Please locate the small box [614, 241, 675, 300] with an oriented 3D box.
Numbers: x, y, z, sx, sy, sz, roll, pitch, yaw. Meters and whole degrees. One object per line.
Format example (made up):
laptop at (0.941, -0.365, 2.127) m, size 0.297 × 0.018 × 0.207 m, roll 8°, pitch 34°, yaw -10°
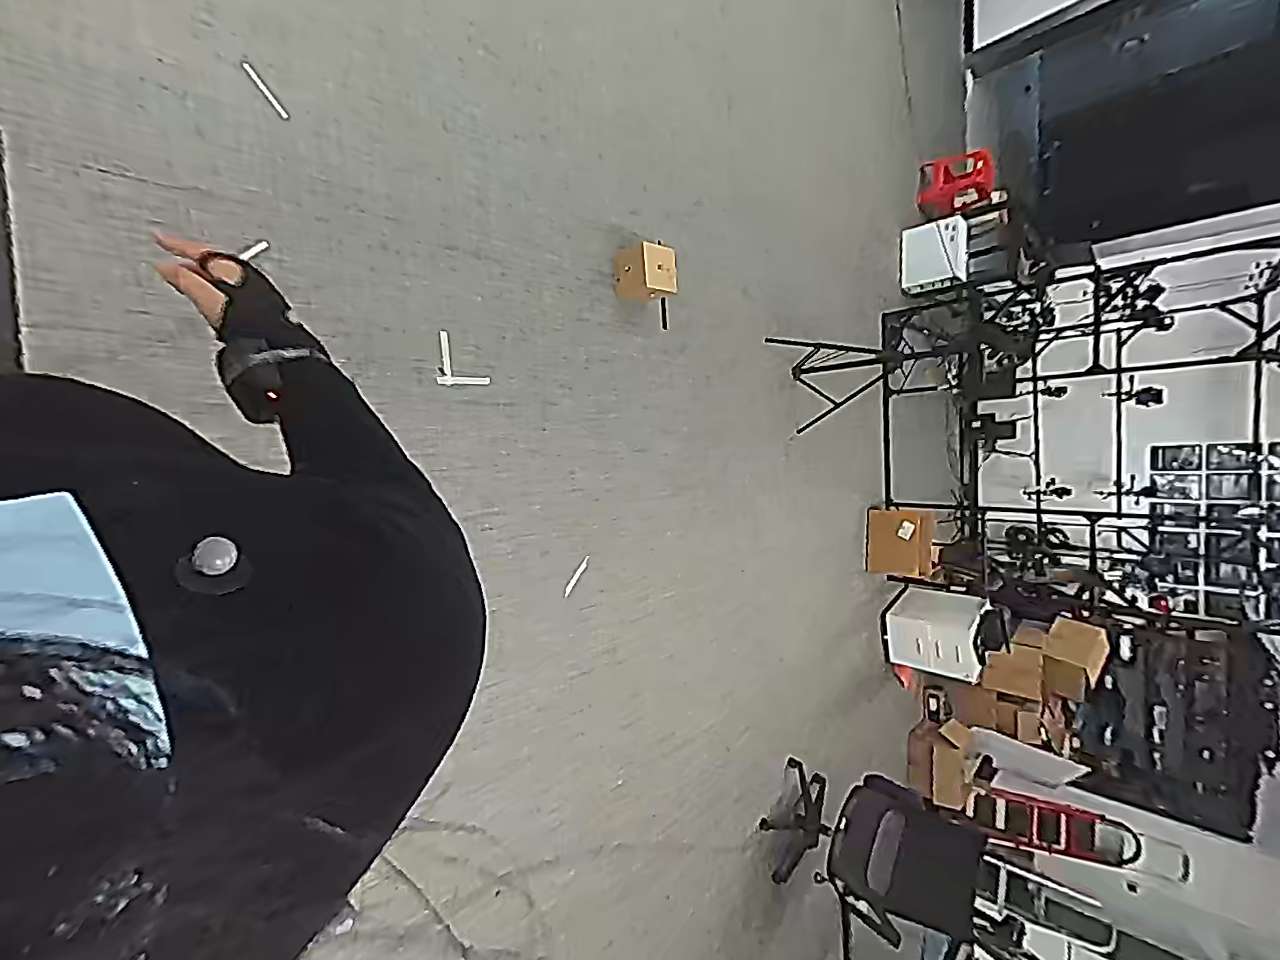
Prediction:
small box at (0.012, -0.797, 2.074) m, size 0.179 × 0.176 × 0.168 m, roll -10°, pitch 98°, yaw -46°
